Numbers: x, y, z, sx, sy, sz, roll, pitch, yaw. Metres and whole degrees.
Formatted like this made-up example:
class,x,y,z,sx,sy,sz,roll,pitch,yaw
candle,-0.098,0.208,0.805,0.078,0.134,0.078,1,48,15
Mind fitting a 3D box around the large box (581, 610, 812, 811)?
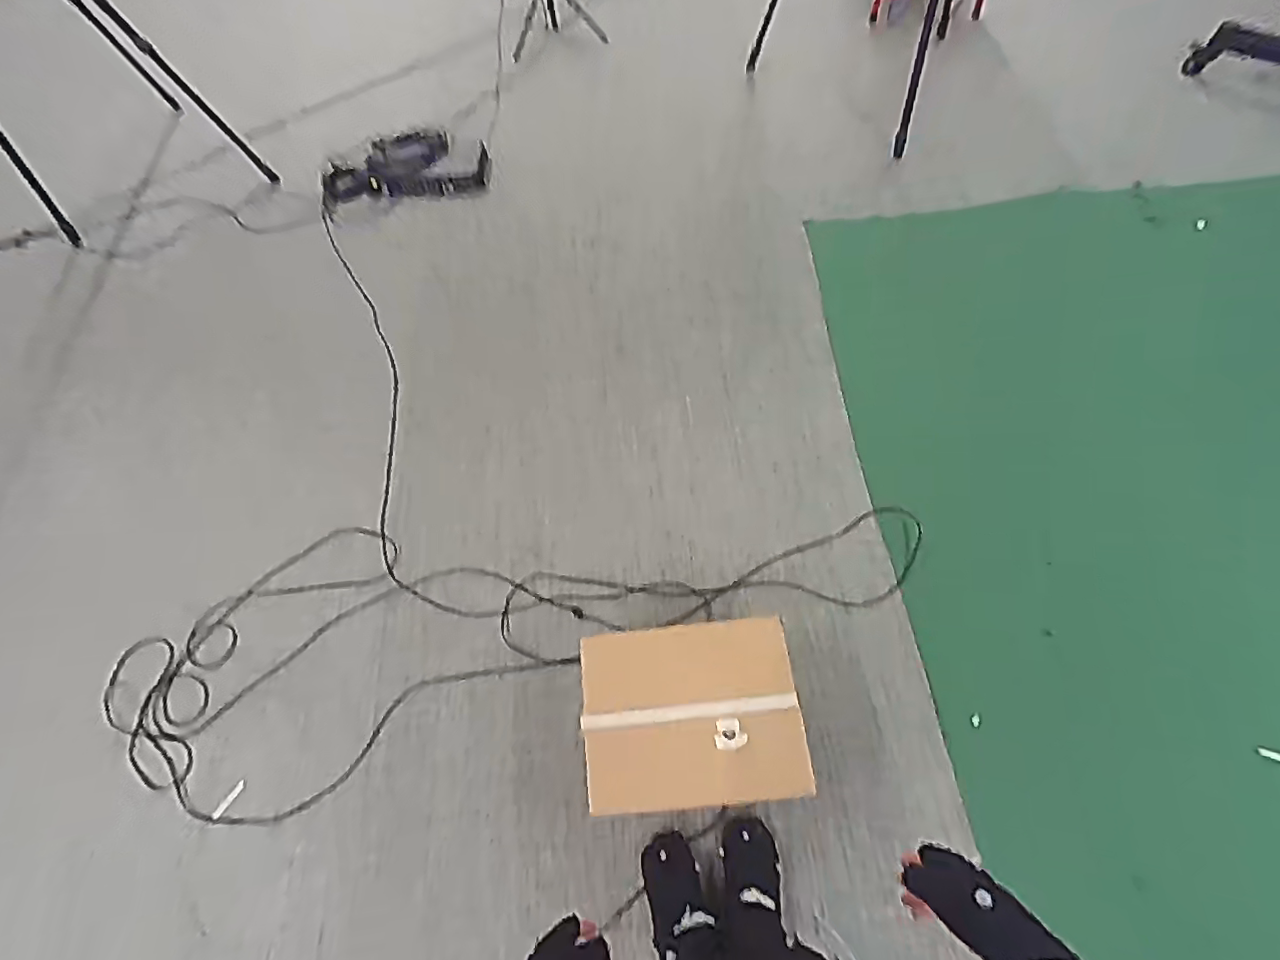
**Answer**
class,x,y,z,sx,sy,sz,roll,pitch,yaw
large box,0.102,0.483,1.151,0.408,0.320,0.320,-7,67,1
